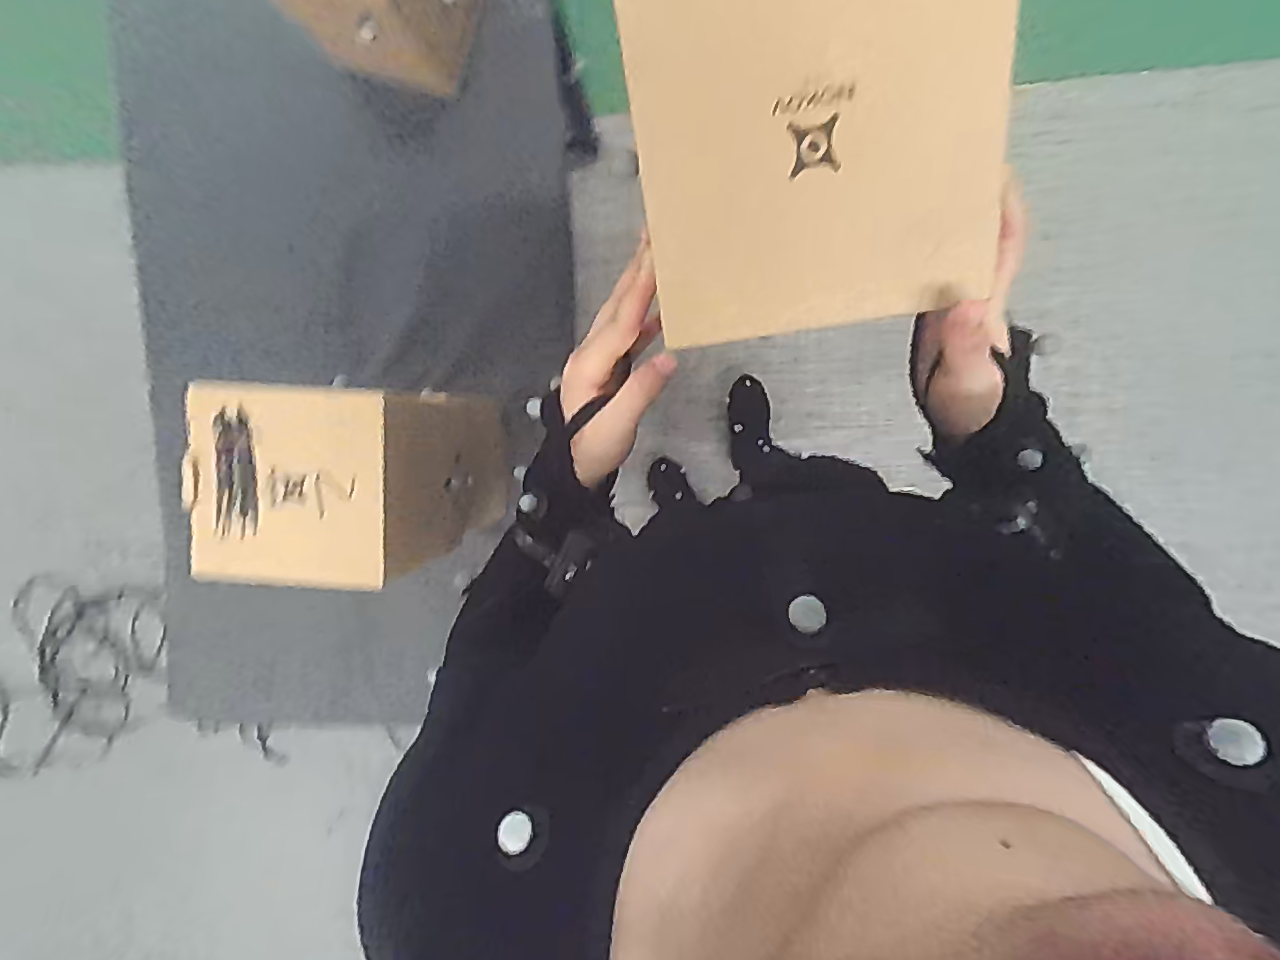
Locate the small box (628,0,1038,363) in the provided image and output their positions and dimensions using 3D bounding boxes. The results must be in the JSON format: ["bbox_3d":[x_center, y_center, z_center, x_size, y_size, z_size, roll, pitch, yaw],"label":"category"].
[{"bbox_3d":[0.095,-0.182,0.320,0.168,0.176,0.179,-6,112,9],"label":"small box"}]

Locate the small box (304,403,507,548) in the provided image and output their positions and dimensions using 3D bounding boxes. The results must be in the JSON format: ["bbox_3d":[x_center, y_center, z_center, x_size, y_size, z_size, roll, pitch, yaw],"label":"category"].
[{"bbox_3d":[-0.287,-0.010,0.693,0.179,0.176,0.168,-2,96,6],"label":"small box"}]
